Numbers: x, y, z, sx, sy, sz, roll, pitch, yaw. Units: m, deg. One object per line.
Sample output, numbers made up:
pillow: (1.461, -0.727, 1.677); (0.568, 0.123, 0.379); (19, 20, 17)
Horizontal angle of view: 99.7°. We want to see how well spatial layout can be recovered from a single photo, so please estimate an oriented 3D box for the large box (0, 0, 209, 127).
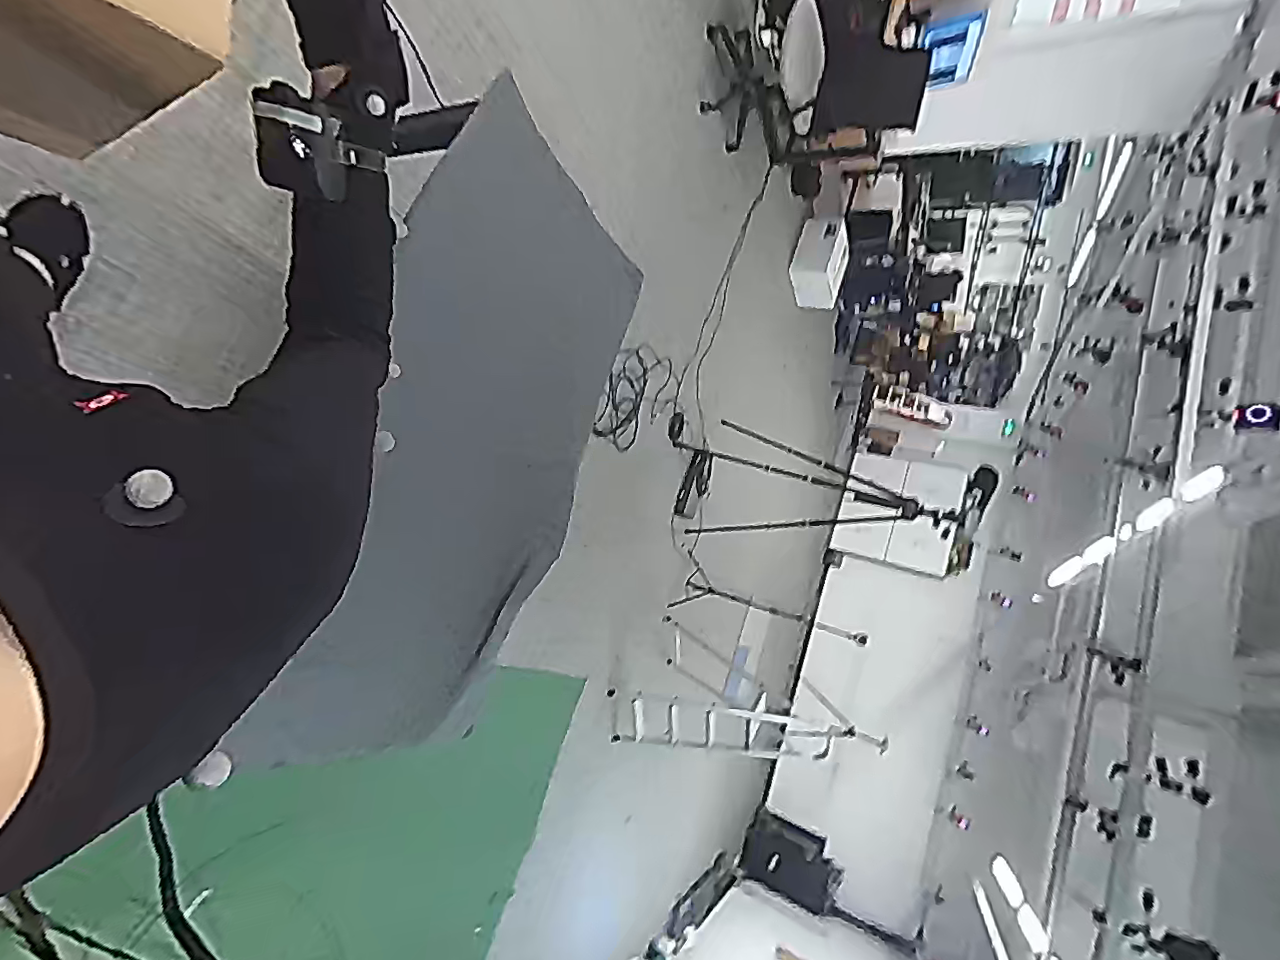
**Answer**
large box: (-0.443, -0.407, 0.192); (0.408, 0.320, 0.320); (0, 99, -56)
